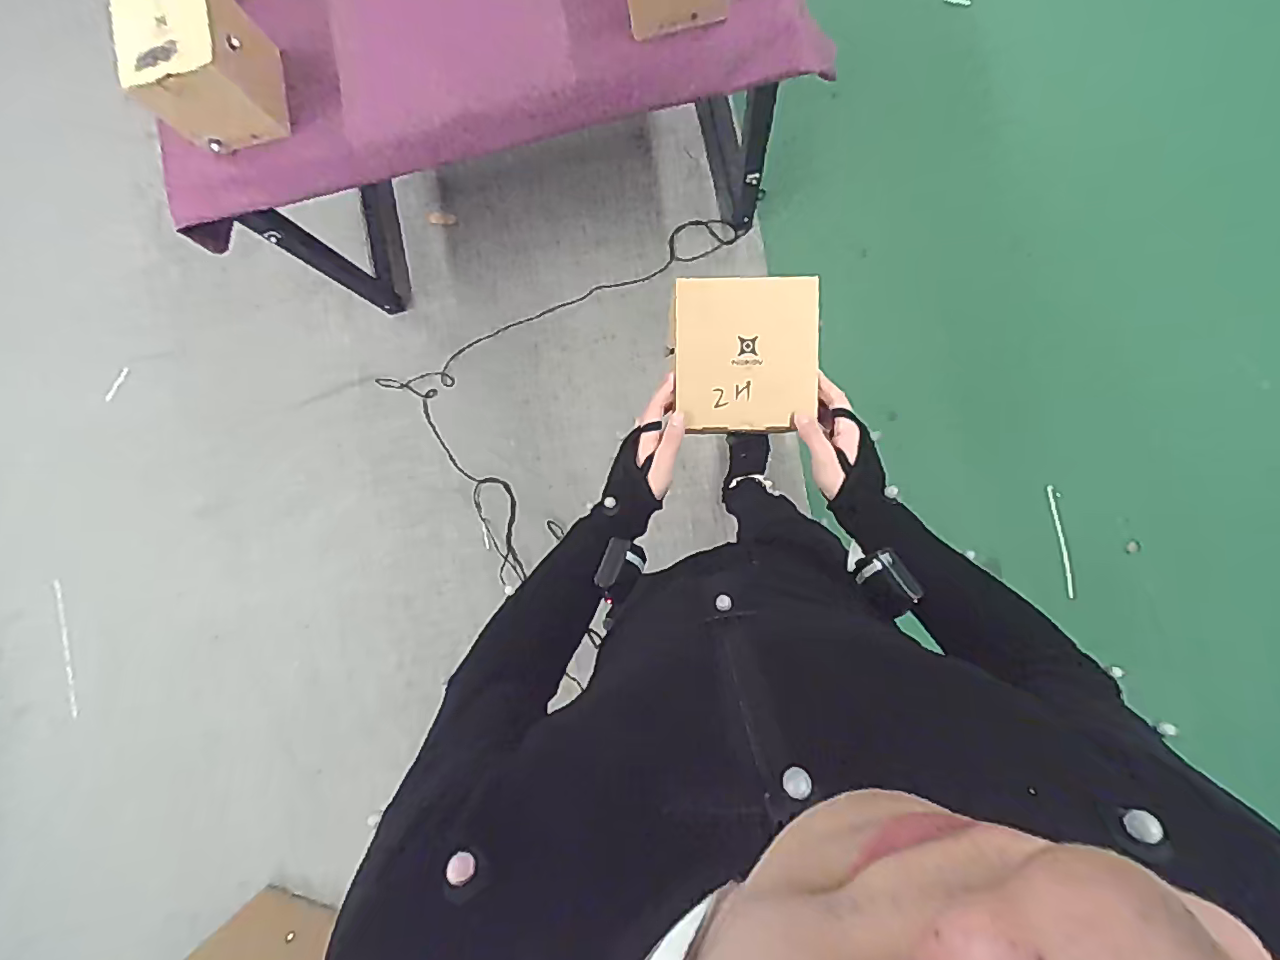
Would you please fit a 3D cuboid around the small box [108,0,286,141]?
[{"bbox_3d":[-0.745,-0.718,0.927,0.168,0.176,0.179,-10,86,5],"label":"small box"}]

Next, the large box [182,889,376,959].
[{"bbox_3d":[-1.053,1.470,1.540,0.408,0.320,0.320,14,90,5],"label":"large box"}]

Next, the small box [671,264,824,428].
[{"bbox_3d":[0.126,-0.160,0.694,0.168,0.176,0.179,0,93,1],"label":"small box"}]

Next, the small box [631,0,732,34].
[{"bbox_3d":[0.055,-0.865,0.849,0.168,0.176,0.179,-9,85,7],"label":"small box"}]
